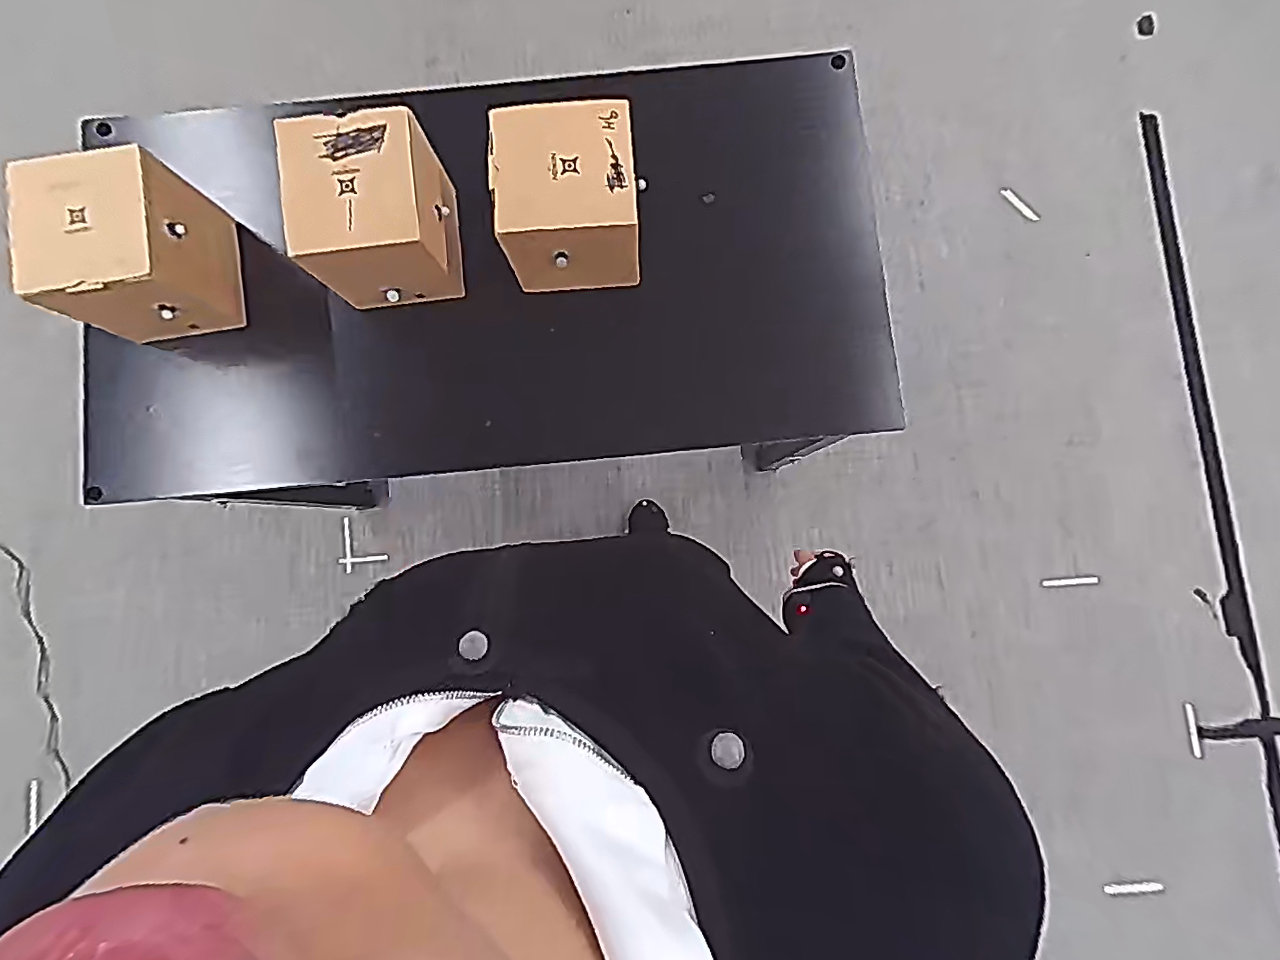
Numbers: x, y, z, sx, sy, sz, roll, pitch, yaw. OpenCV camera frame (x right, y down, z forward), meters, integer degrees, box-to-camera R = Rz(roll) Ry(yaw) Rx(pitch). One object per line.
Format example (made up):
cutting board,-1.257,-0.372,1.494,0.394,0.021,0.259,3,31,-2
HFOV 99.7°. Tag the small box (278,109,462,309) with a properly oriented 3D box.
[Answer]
small box,-0.352,-0.354,0.732,0.168,0.176,0.179,-7,86,-1

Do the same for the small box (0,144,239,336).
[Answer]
small box,-0.681,-0.306,0.728,0.168,0.176,0.179,-9,84,-2

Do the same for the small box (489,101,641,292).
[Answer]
small box,-0.092,-0.370,0.734,0.179,0.176,0.168,-4,85,1
